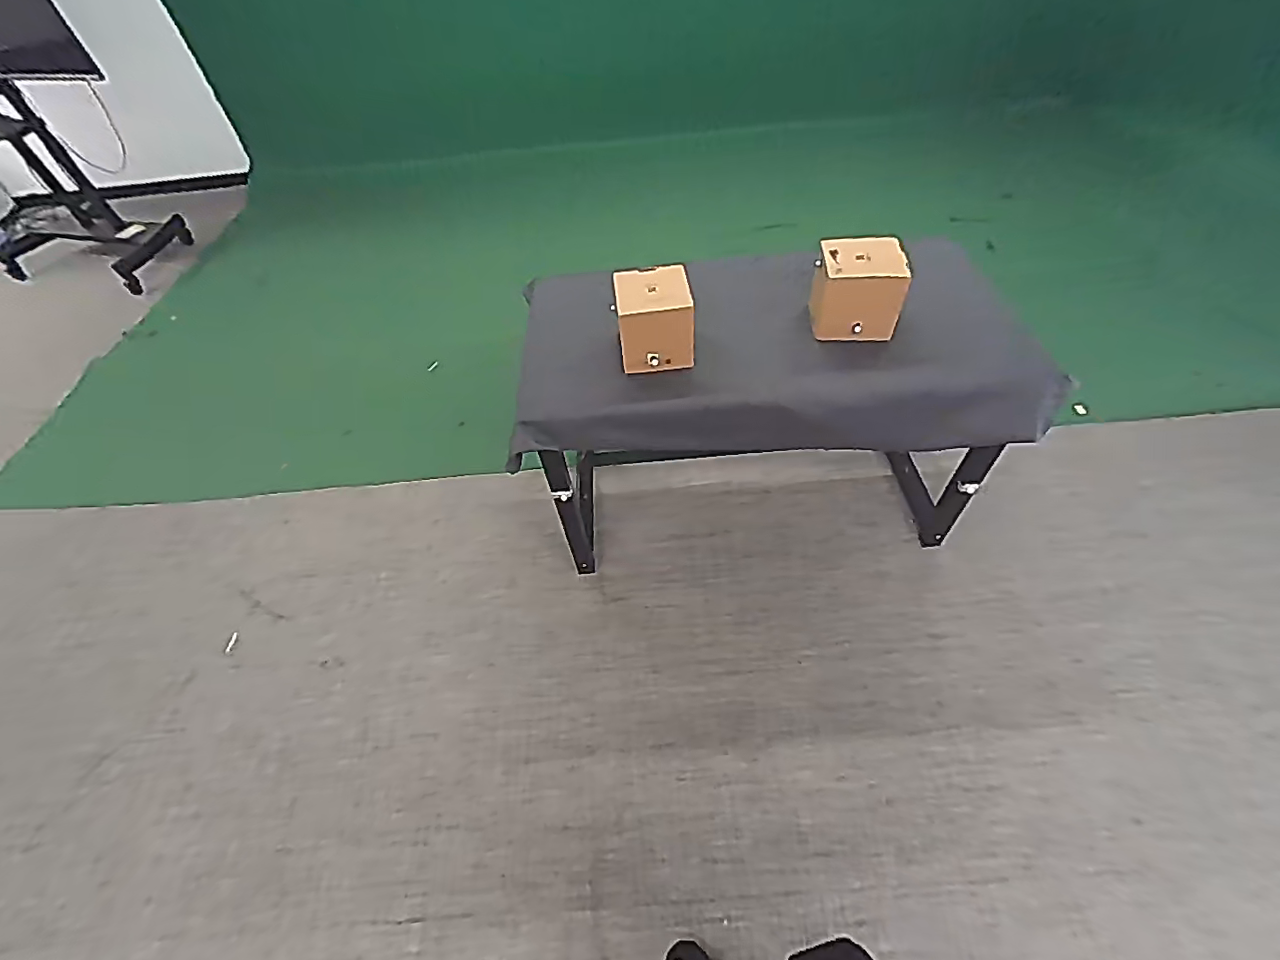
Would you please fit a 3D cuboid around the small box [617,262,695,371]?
[{"bbox_3d":[0.037,-0.377,1.253,0.168,0.176,0.179,-6,51,2],"label":"small box"}]

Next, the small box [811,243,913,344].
[{"bbox_3d":[0.515,-0.439,1.280,0.179,0.176,0.168,2,51,6],"label":"small box"}]
